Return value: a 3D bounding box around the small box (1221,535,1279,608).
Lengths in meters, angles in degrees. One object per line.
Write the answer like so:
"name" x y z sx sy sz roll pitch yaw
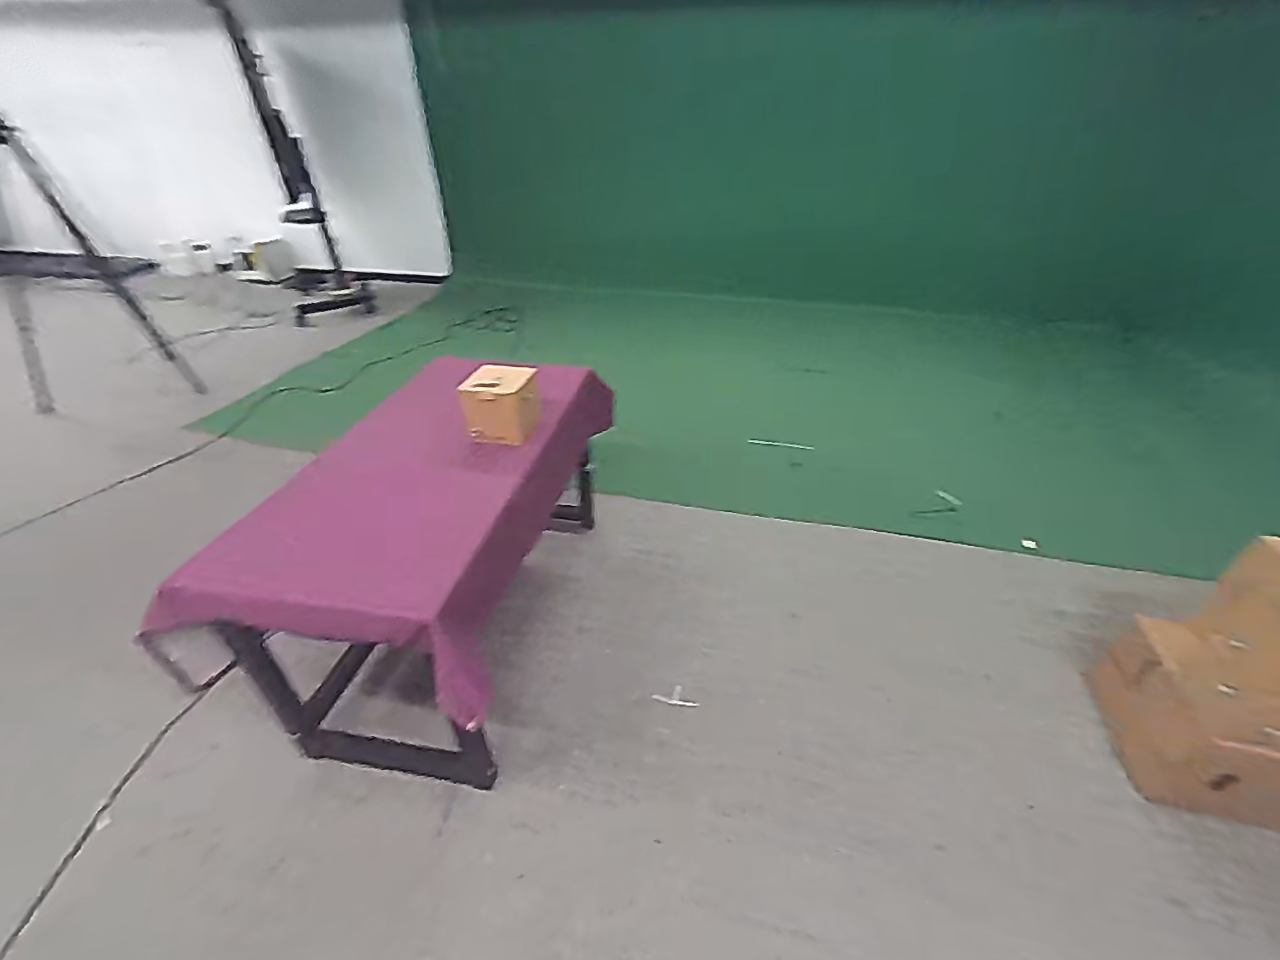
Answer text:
"small box" 1.626 0.263 1.333 0.168 0.176 0.179 8 35 8

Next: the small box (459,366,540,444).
"small box" -0.403 -0.220 1.589 0.168 0.176 0.179 7 35 10
